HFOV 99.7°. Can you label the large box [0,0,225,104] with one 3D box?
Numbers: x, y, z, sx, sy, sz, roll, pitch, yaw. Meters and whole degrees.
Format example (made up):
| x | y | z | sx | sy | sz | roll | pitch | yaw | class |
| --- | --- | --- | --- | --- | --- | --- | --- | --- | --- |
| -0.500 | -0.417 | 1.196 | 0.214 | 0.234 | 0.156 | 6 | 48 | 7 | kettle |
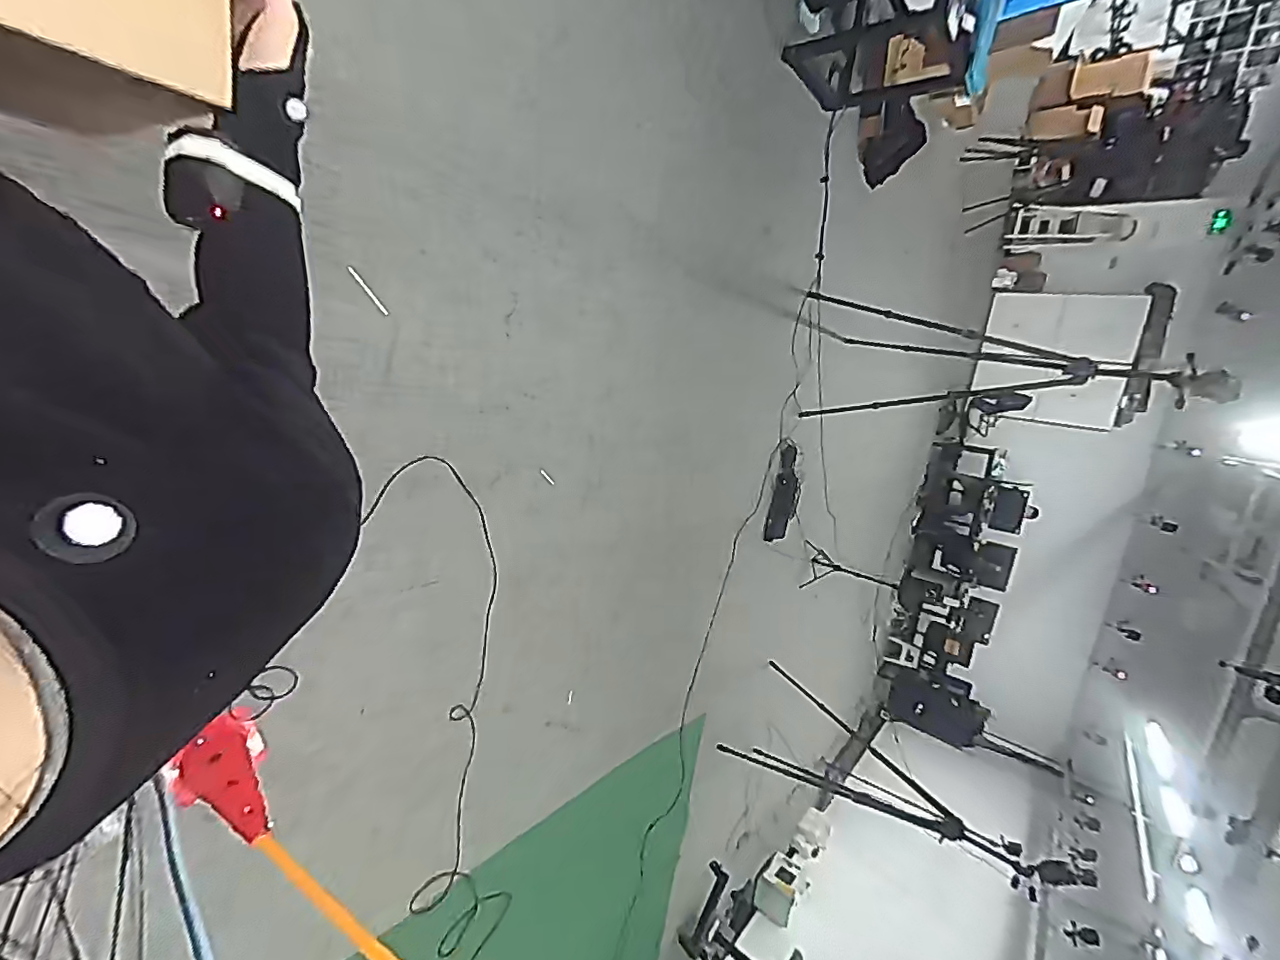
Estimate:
| x | y | z | sx | sy | sz | roll | pitch | yaw | class |
| --- | --- | --- | --- | --- | --- | --- | --- | --- | --- |
| -0.534 | -0.466 | 0.298 | 0.408 | 0.320 | 0.320 | -14 | 116 | -56 | large box |
